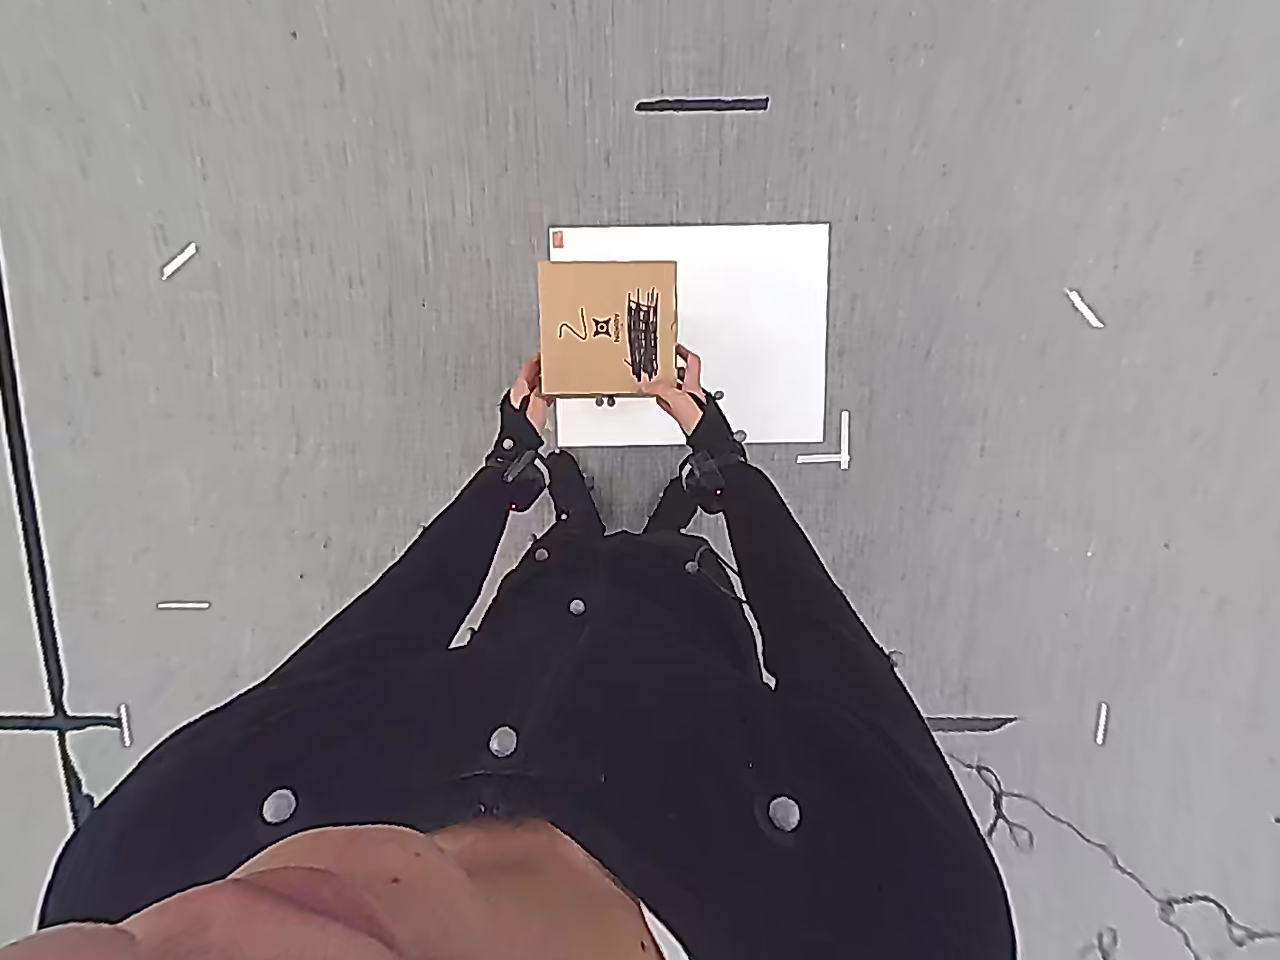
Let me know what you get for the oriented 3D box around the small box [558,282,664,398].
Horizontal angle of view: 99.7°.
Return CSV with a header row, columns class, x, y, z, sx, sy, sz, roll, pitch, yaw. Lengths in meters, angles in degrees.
class,x,y,z,sx,sy,sz,roll,pitch,yaw
small box,-0.046,-0.229,0.921,0.168,0.176,0.179,0,97,-2
